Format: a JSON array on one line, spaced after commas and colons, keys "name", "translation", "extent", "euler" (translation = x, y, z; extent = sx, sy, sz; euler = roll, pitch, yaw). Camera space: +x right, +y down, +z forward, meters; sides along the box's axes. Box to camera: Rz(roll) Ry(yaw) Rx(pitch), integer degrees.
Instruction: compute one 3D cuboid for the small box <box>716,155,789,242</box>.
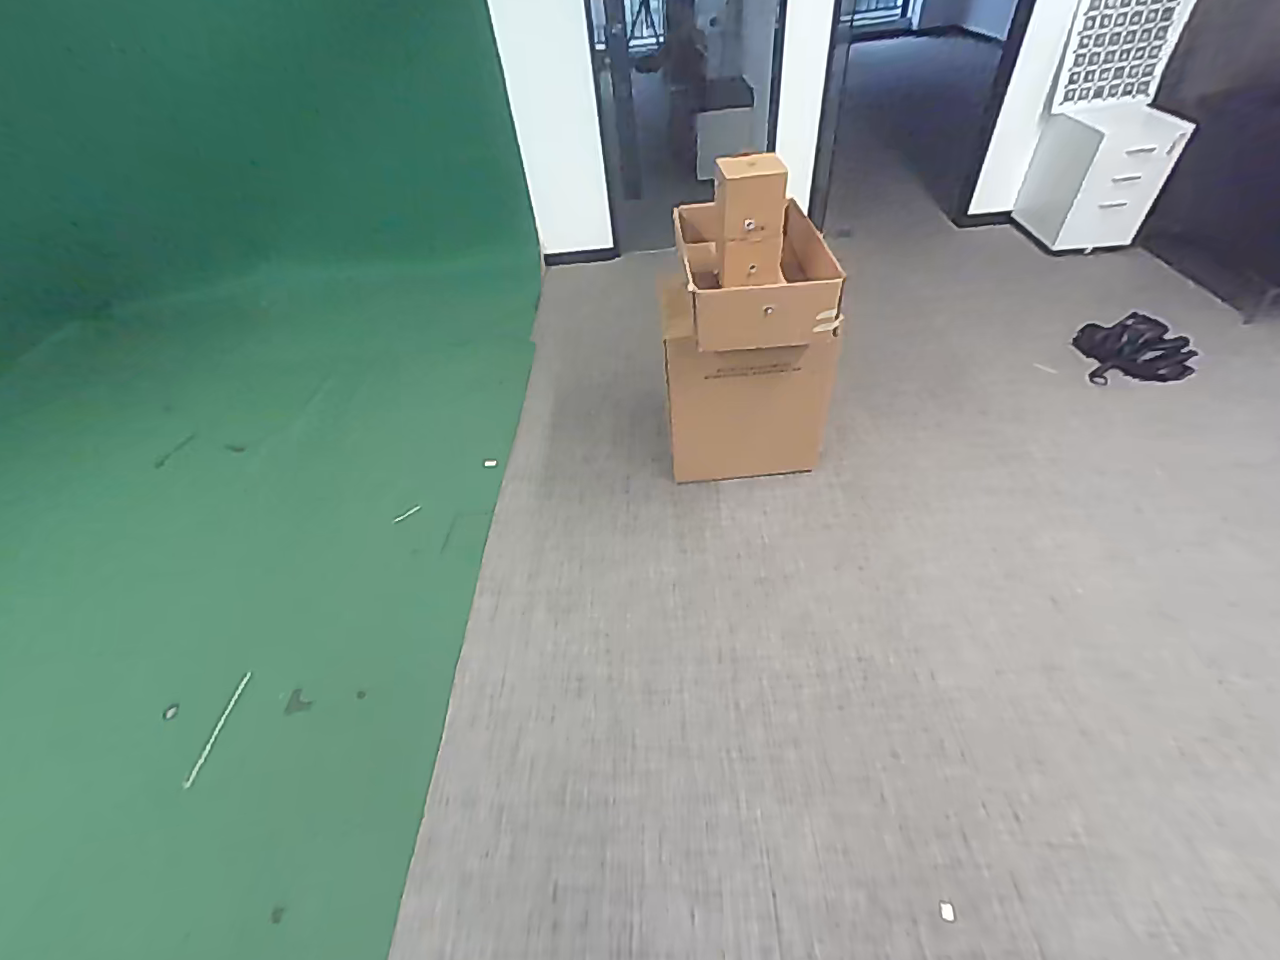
[{"name": "small box", "translation": [0.308, -0.789, 1.516], "extent": [0.168, 0.176, 0.179], "euler": [-6, 46, 1]}]
